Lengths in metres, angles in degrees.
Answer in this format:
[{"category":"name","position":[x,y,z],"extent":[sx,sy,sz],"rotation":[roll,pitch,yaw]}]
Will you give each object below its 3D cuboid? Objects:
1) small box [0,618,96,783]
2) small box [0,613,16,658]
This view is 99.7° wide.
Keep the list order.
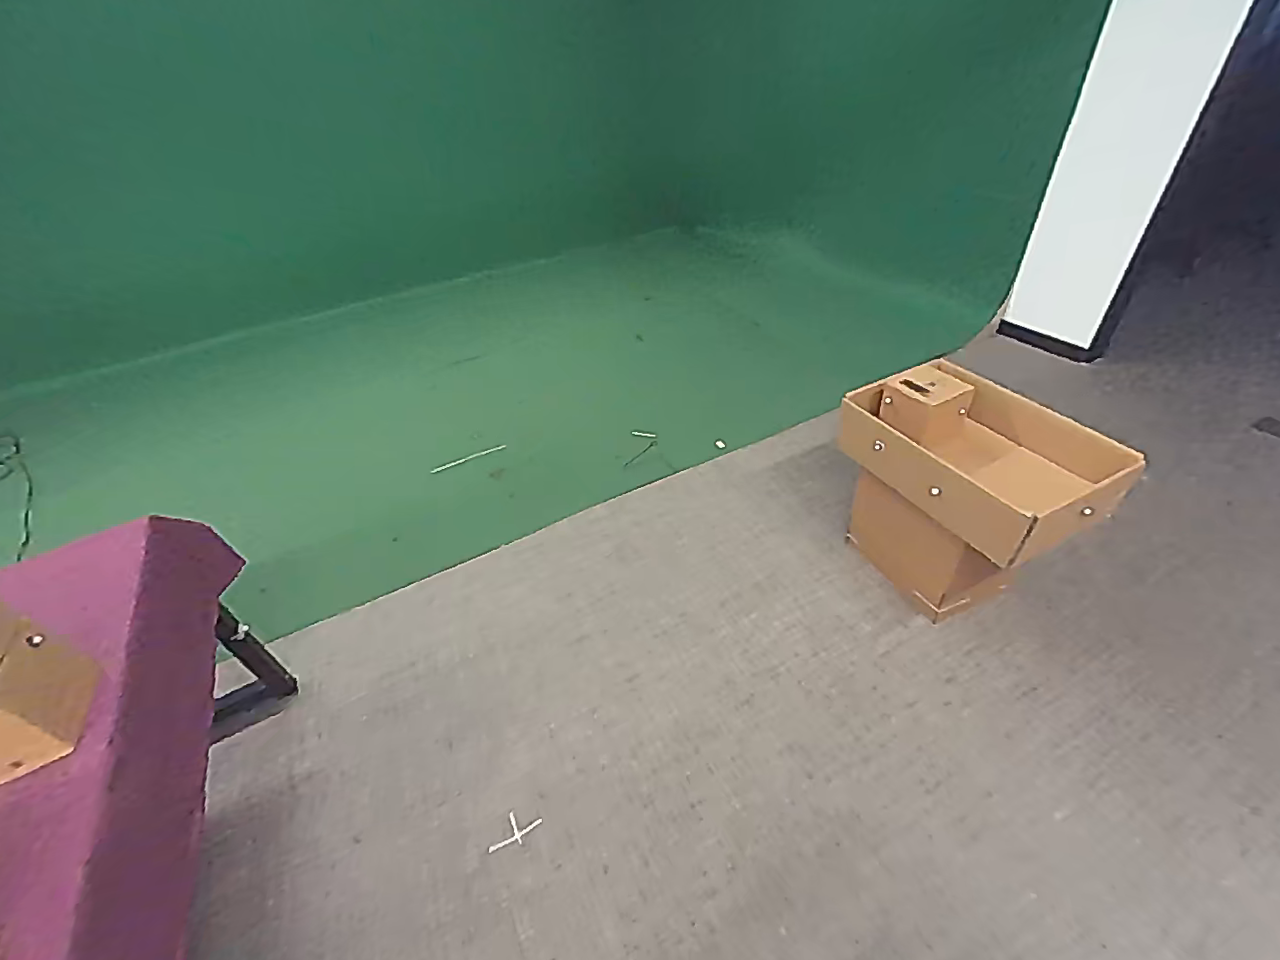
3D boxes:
[{"category":"small box","position":[-1.009,0.357,0.837],"extent":[0.168,0.176,0.179],"rotation":[-24,43,-18]},{"category":"small box","position":[-1.024,0.238,0.725],"extent":[0.168,0.176,0.179],"rotation":[-22,43,-15]}]
